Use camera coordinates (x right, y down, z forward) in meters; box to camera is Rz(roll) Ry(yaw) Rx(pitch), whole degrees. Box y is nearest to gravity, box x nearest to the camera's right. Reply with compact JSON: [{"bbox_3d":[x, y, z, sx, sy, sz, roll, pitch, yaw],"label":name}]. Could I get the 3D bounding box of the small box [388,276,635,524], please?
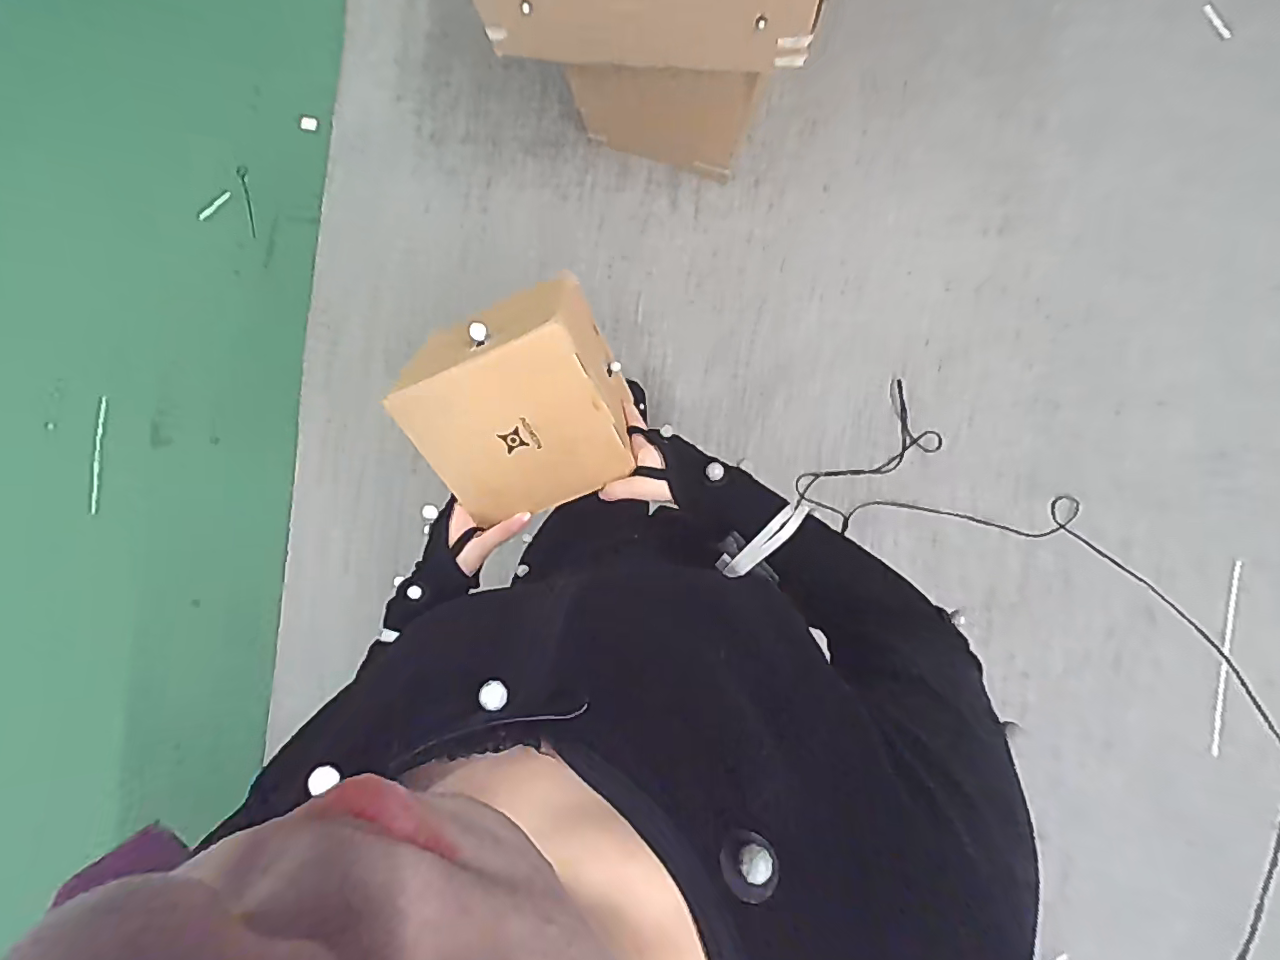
[{"bbox_3d":[-0.116,-0.088,0.565,0.179,0.176,0.168,-21,122,9],"label":"small box"}]
